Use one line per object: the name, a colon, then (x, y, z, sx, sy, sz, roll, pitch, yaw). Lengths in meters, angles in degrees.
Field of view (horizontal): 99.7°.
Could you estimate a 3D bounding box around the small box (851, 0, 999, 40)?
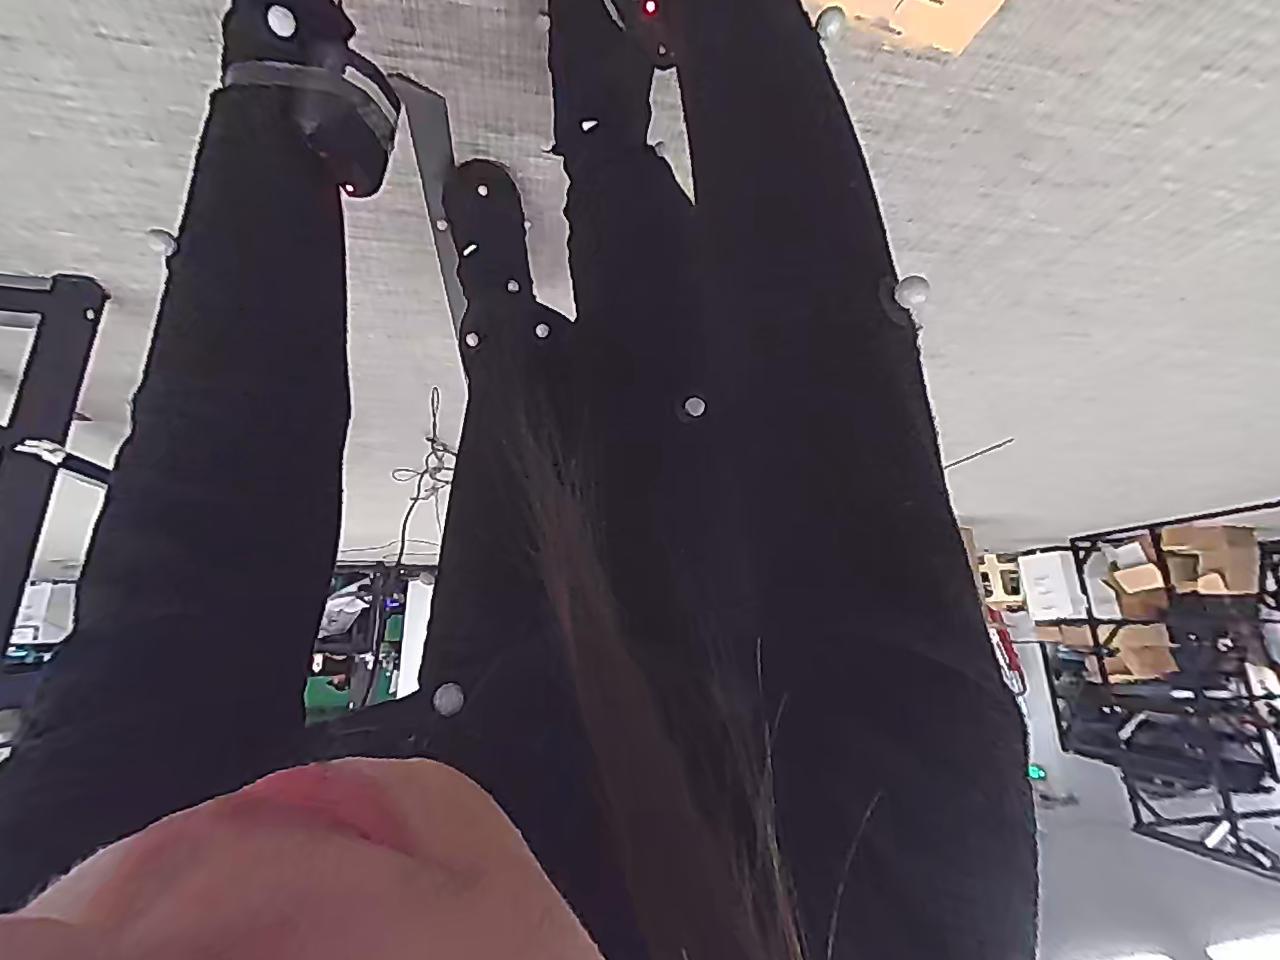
small box: (0.214, -0.468, 0.366, 0.168, 0.176, 0.179, 3, 163, -18)
